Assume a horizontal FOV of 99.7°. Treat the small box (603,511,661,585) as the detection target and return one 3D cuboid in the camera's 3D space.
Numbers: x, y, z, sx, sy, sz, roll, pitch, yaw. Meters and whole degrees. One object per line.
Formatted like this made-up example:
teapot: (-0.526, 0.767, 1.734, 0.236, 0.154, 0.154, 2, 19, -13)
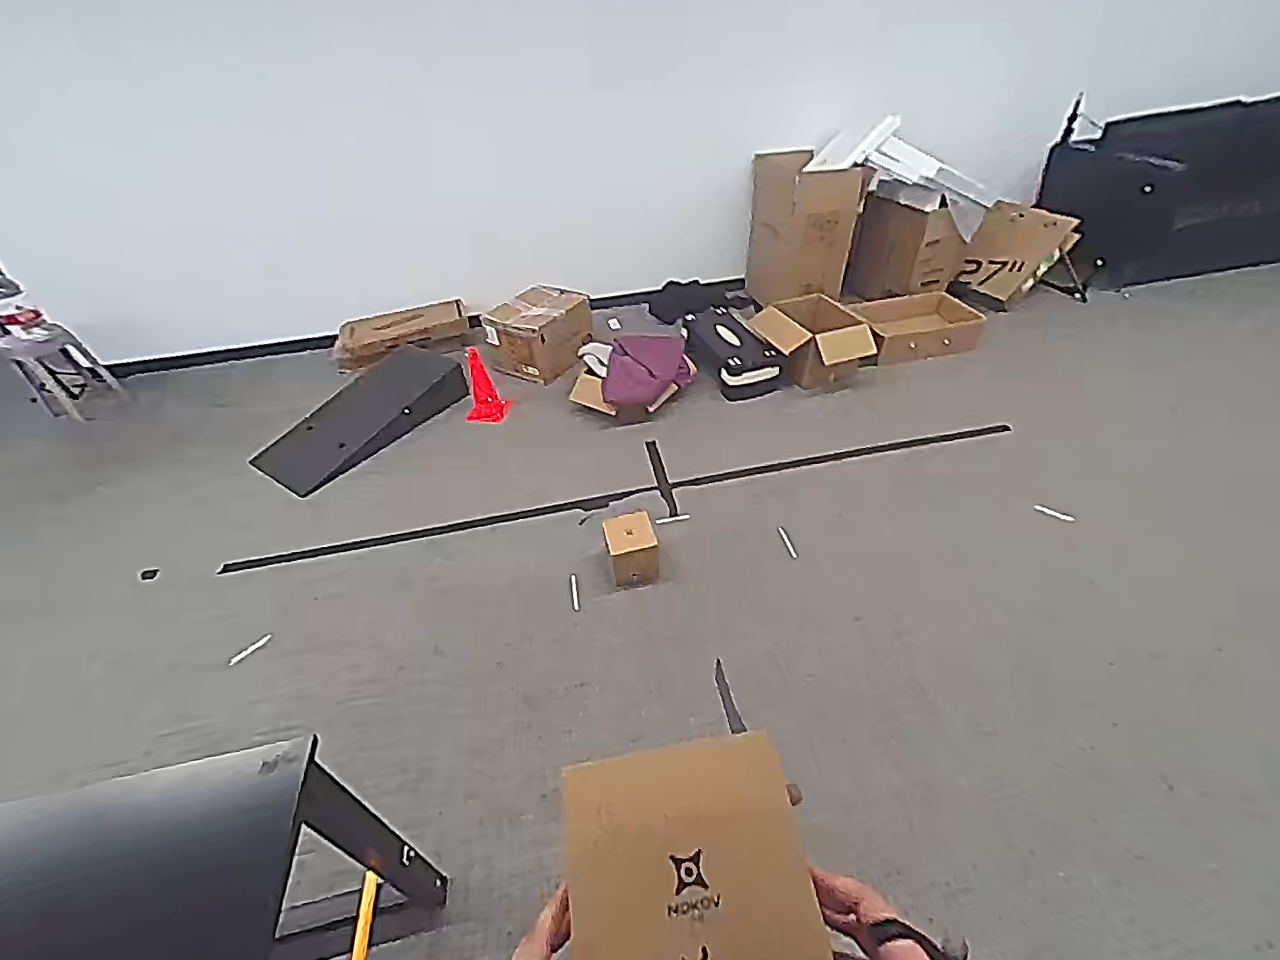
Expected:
small box: (-0.029, 0.243, 1.923, 0.168, 0.176, 0.179, -13, 42, -7)
